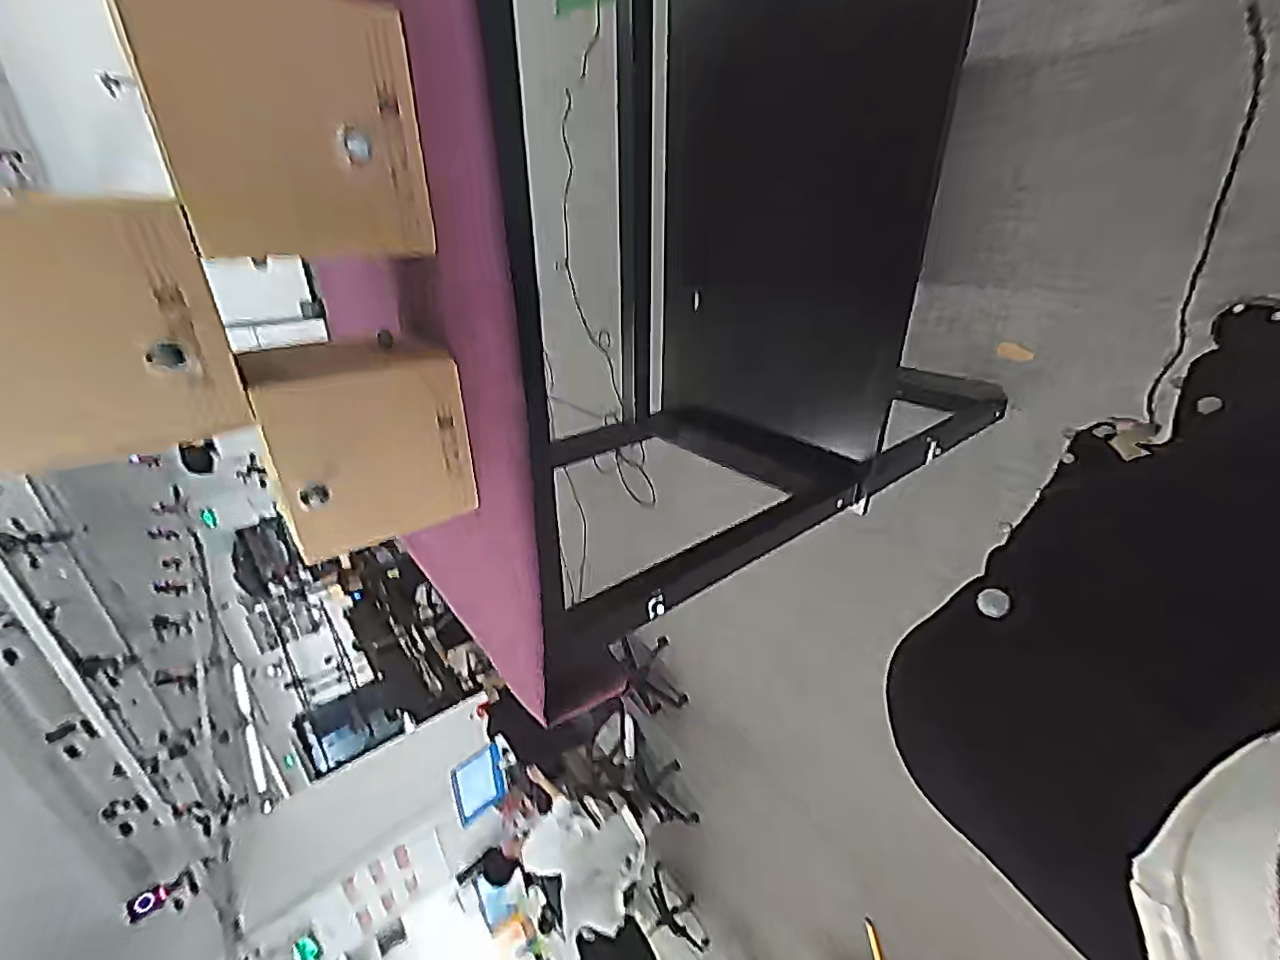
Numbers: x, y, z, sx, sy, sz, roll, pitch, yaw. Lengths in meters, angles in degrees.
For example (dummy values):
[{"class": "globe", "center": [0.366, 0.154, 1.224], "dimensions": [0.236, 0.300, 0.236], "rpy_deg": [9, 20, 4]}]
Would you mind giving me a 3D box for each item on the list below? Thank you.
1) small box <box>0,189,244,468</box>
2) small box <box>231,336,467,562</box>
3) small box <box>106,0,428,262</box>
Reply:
[{"class": "small box", "center": [-0.423, -0.123, 0.408], "dimensions": [0.179, 0.176, 0.168], "rpy_deg": [32, 130, 43]}, {"class": "small box", "center": [-0.294, -0.047, 0.553], "dimensions": [0.179, 0.176, 0.168], "rpy_deg": [30, 129, 45]}, {"class": "small box", "center": [-0.293, -0.275, 0.444], "dimensions": [0.179, 0.176, 0.168], "rpy_deg": [29, 129, 44]}]
